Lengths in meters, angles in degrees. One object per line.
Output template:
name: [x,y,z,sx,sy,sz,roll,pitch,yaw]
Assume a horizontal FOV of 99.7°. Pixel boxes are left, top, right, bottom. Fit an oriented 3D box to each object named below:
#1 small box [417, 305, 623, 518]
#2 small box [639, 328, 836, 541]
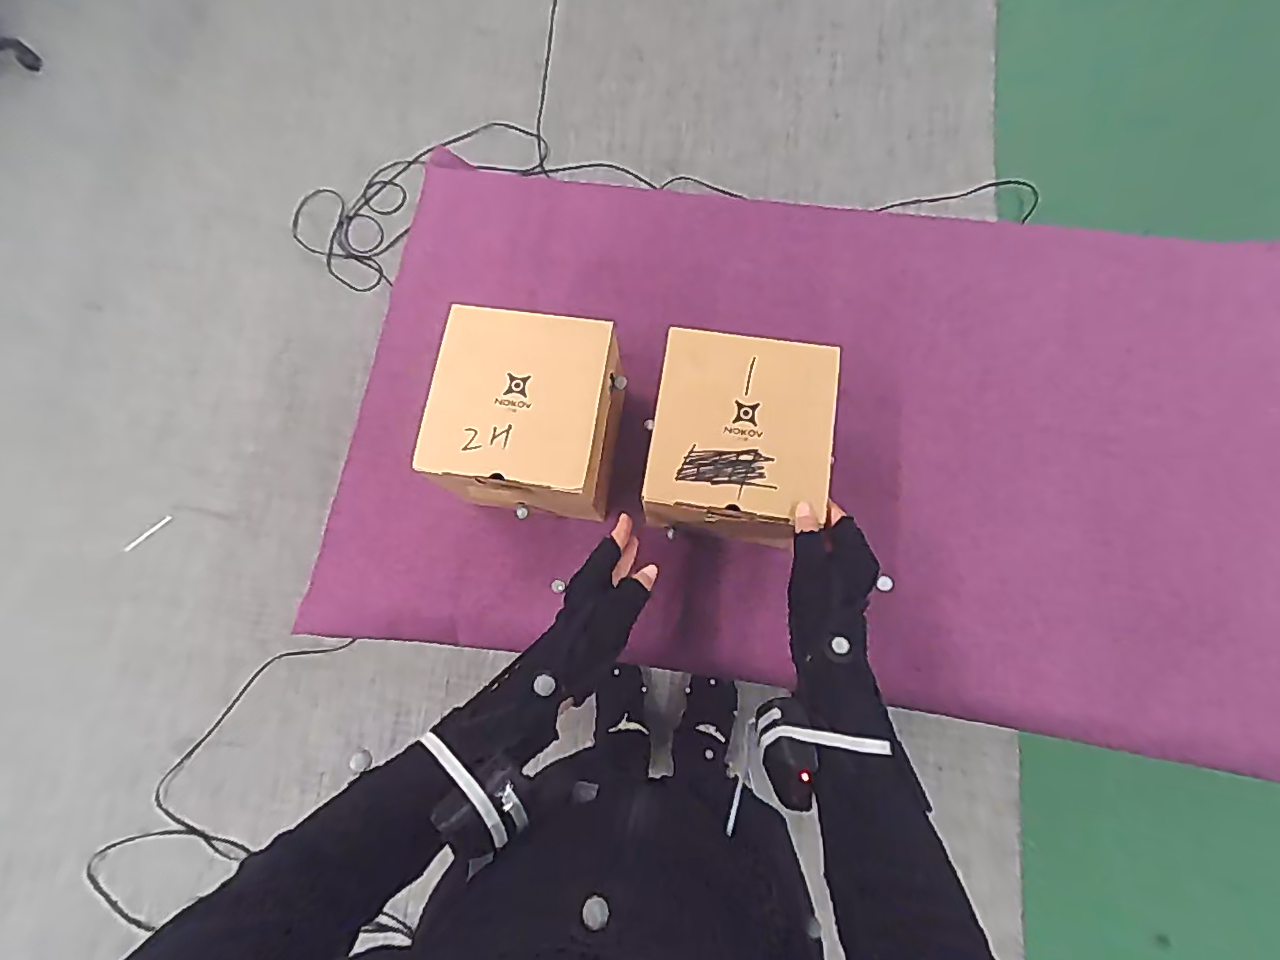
small box: [-0.114,-0.065,0.599,0.168,0.176,0.179,8,78,5]
small box: [0.098,-0.036,0.581,0.168,0.176,0.179,9,77,5]
